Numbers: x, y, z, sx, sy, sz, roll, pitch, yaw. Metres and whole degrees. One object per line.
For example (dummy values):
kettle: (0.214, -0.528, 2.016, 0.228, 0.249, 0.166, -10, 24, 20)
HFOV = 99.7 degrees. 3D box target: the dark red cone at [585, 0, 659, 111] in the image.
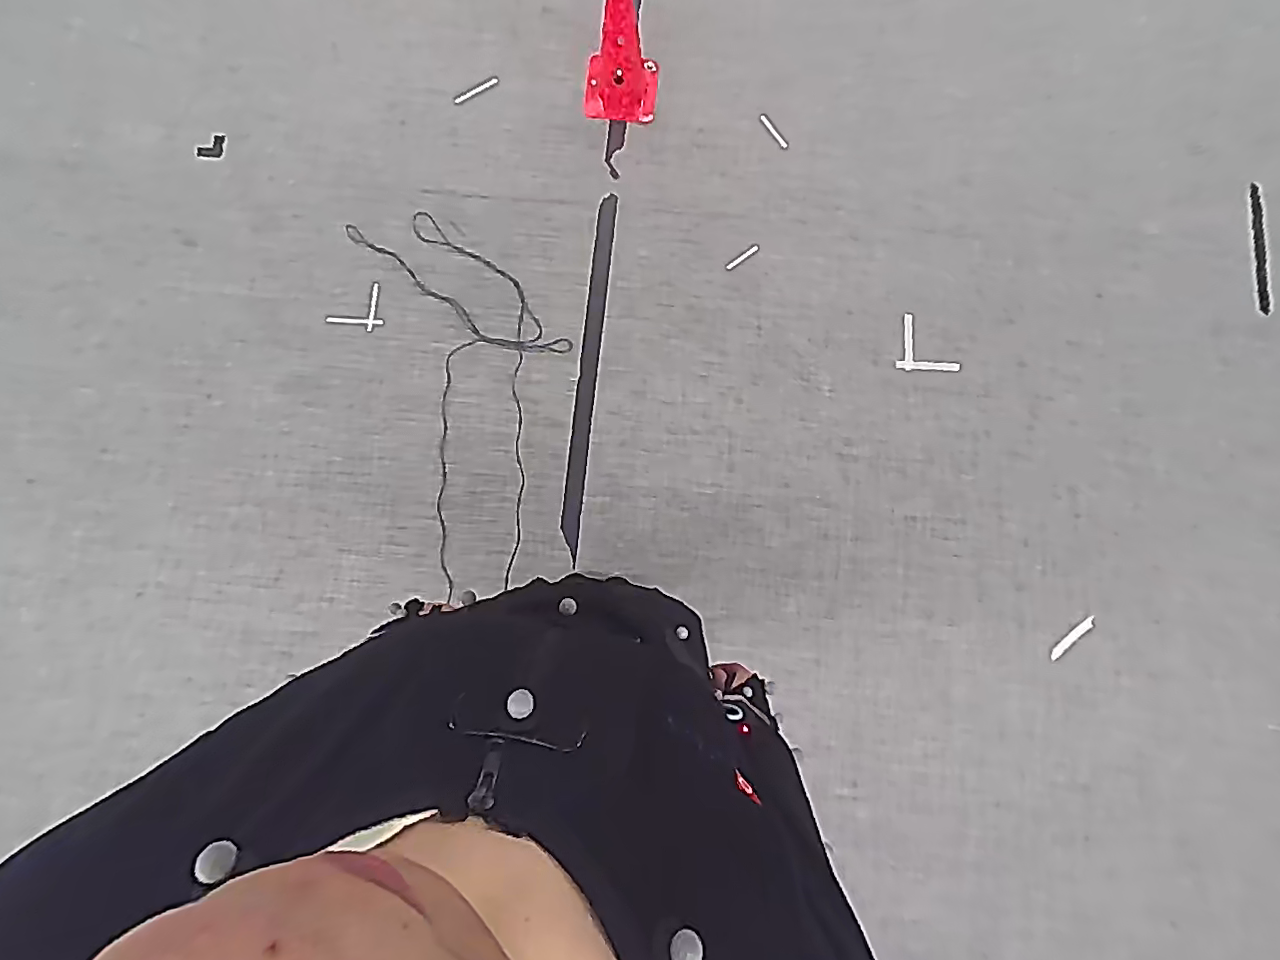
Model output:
dark red cone: (-0.050, -1.149, 1.349, 0.201, 0.394, 0.202, 5, 84, 1)
